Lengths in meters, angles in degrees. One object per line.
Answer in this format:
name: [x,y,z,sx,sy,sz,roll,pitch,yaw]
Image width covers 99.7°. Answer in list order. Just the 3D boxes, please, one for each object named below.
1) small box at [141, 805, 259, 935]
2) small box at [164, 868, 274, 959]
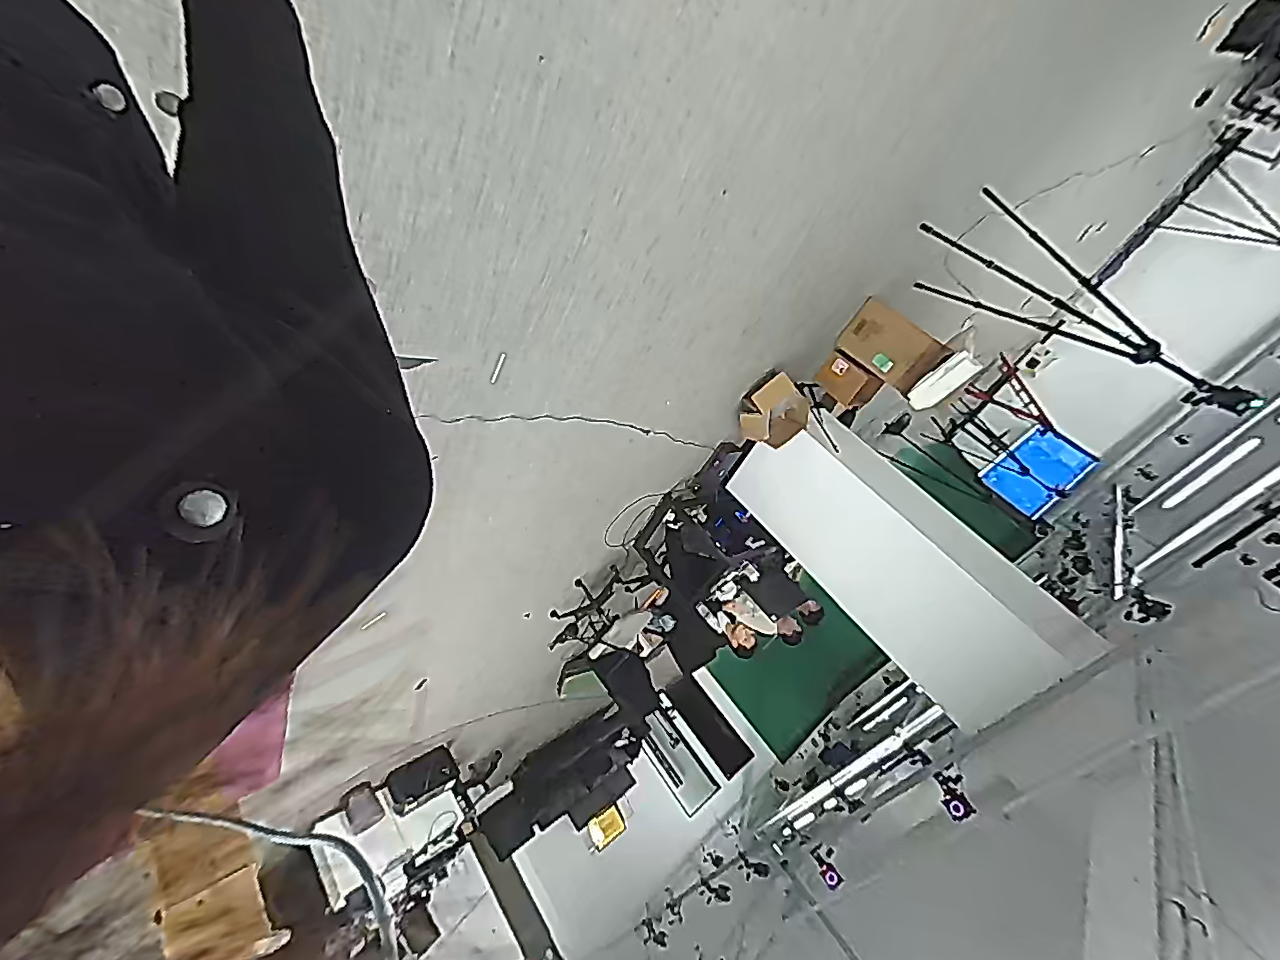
small box: [-1.080,0.943,1.325,0.179,0.176,0.168,-2,133,-54]
small box: [-0.980,1.051,1.254,0.168,0.176,0.179,-10,141,-49]
